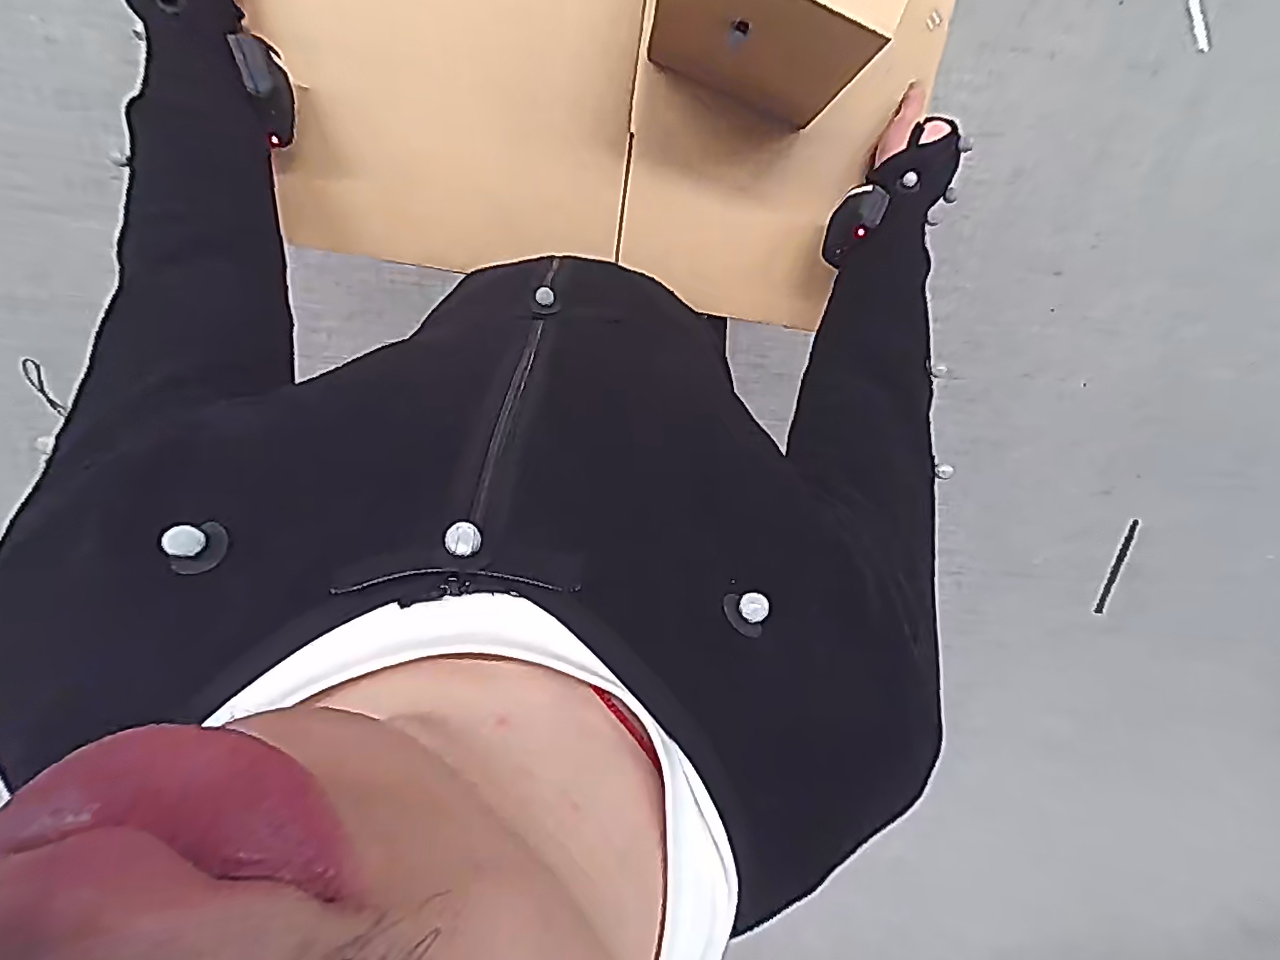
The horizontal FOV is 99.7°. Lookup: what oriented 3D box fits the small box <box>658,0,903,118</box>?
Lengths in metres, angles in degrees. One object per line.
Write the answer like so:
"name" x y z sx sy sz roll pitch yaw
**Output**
"small box" 0.123 -0.441 0.447 0.179 0.176 0.168 18 103 -8
